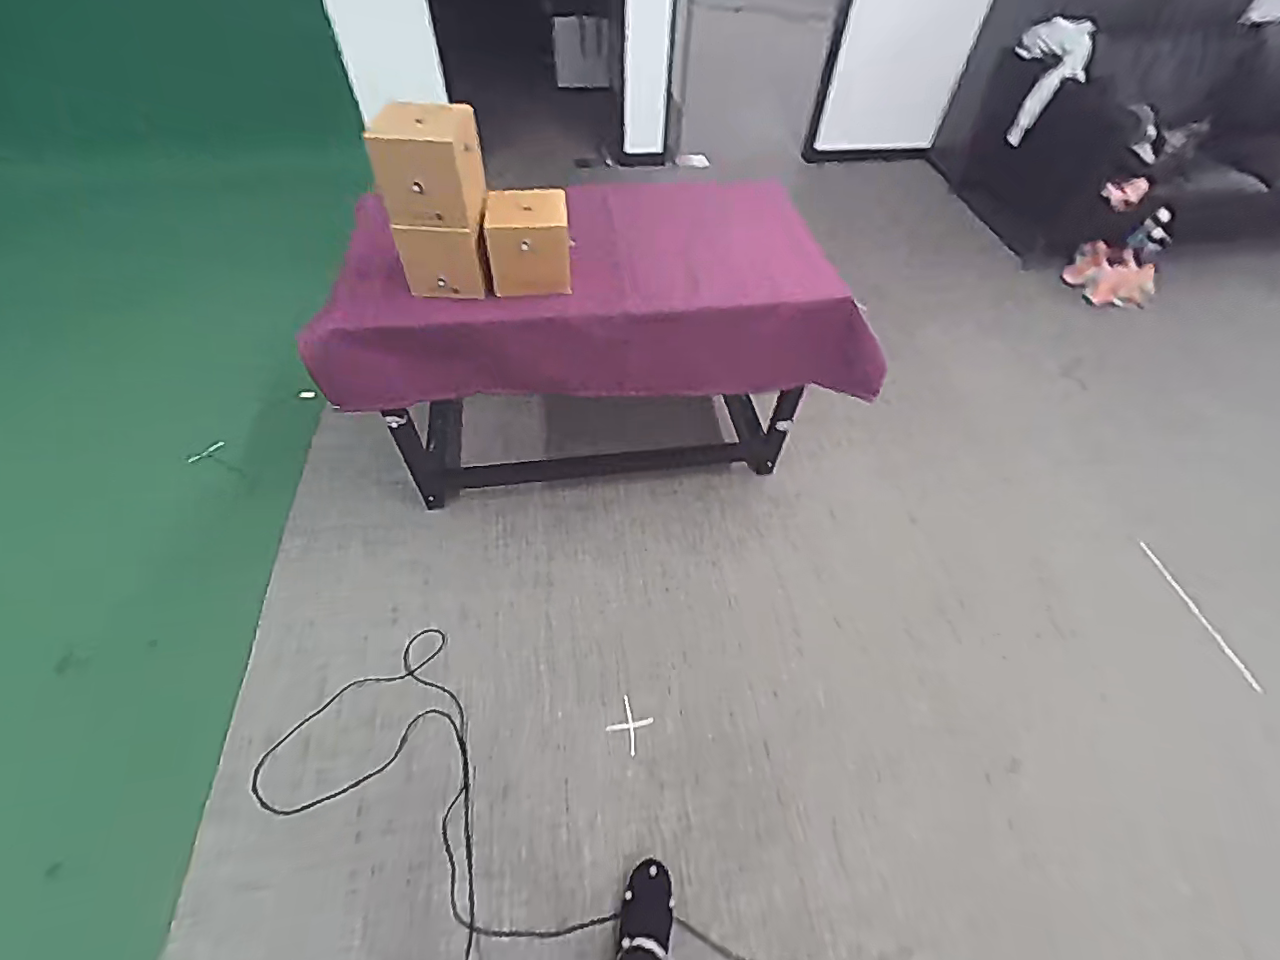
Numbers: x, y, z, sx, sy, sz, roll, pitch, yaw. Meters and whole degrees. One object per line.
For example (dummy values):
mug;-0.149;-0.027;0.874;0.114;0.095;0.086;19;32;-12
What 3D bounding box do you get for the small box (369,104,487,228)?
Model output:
small box;-0.422;-0.641;1.112;0.168;0.176;0.179;4;52;-2
